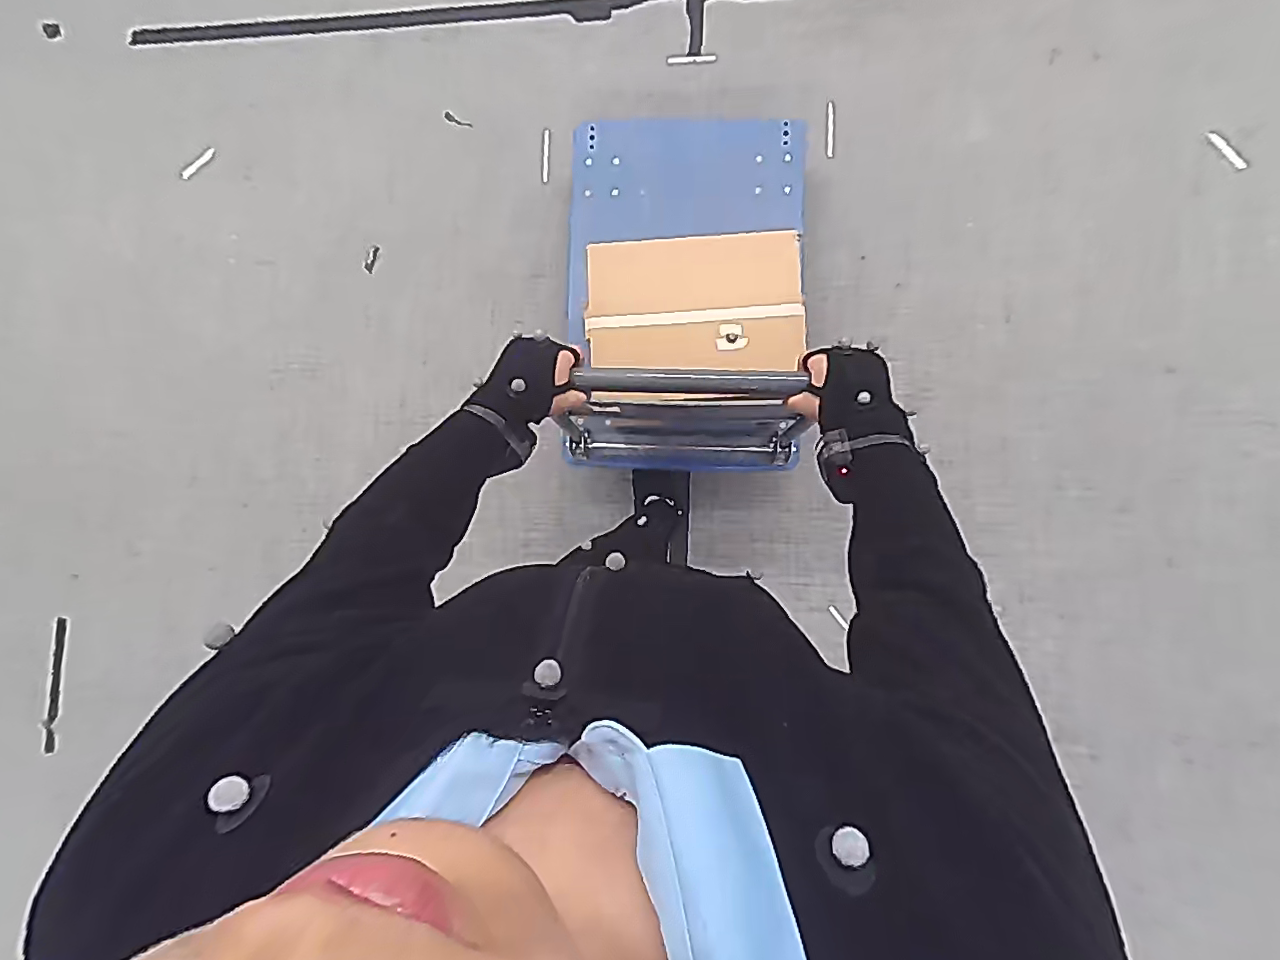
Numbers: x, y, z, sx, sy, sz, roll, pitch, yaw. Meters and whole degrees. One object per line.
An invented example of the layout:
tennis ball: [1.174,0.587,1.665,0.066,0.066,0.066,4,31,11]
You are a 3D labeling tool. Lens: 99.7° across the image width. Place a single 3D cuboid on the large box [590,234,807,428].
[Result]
large box: [0.115,-0.299,1.180,0.408,0.320,0.320,-3,88,3]
